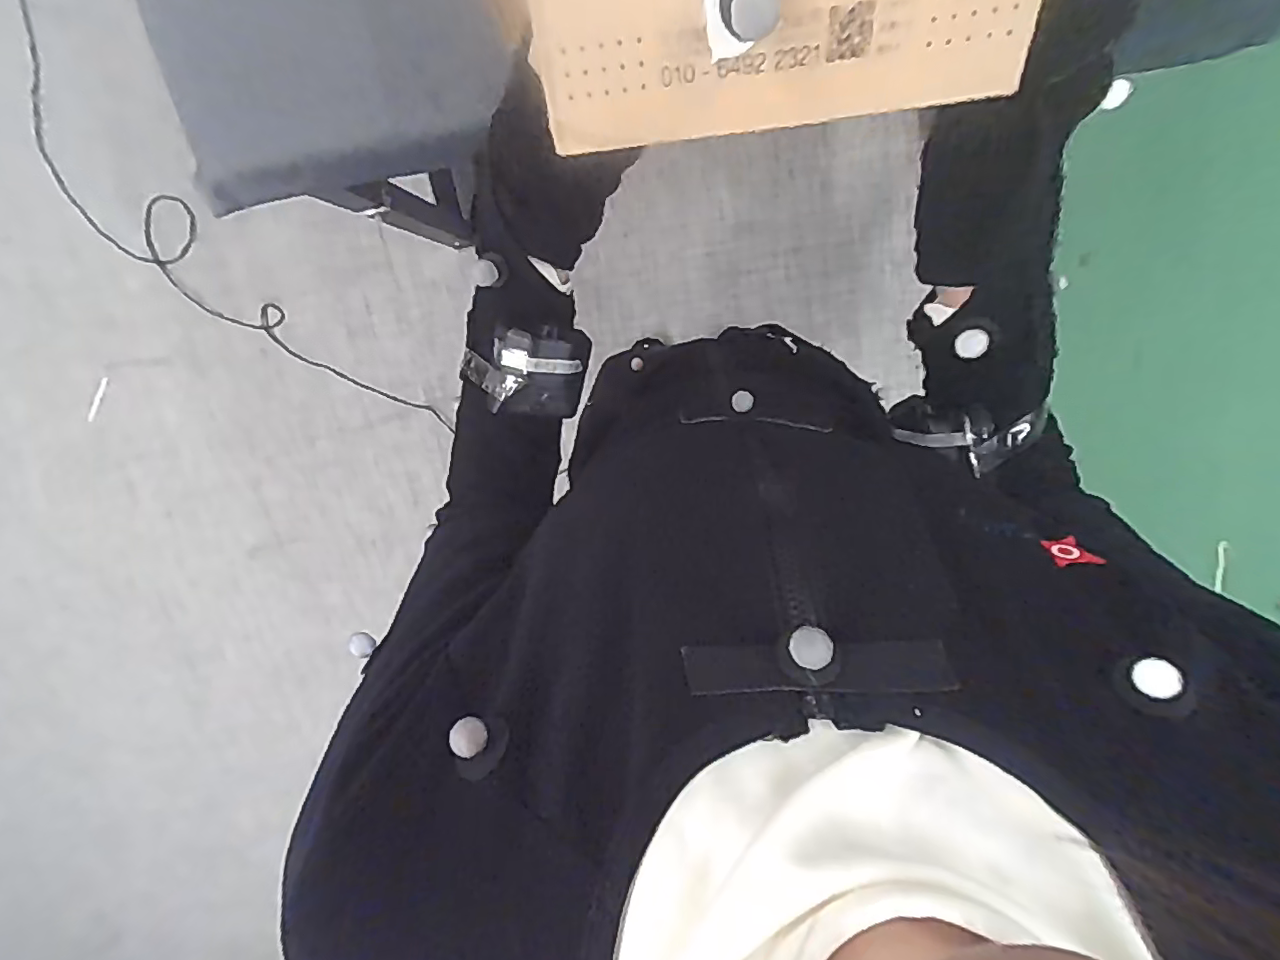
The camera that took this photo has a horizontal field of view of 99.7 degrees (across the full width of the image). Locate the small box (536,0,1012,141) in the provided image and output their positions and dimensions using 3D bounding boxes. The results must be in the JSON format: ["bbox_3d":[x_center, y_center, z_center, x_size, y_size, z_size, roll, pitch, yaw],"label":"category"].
[{"bbox_3d":[0.038,-0.250,0.210,0.168,0.179,0.176,-7,133,4],"label":"small box"}]
